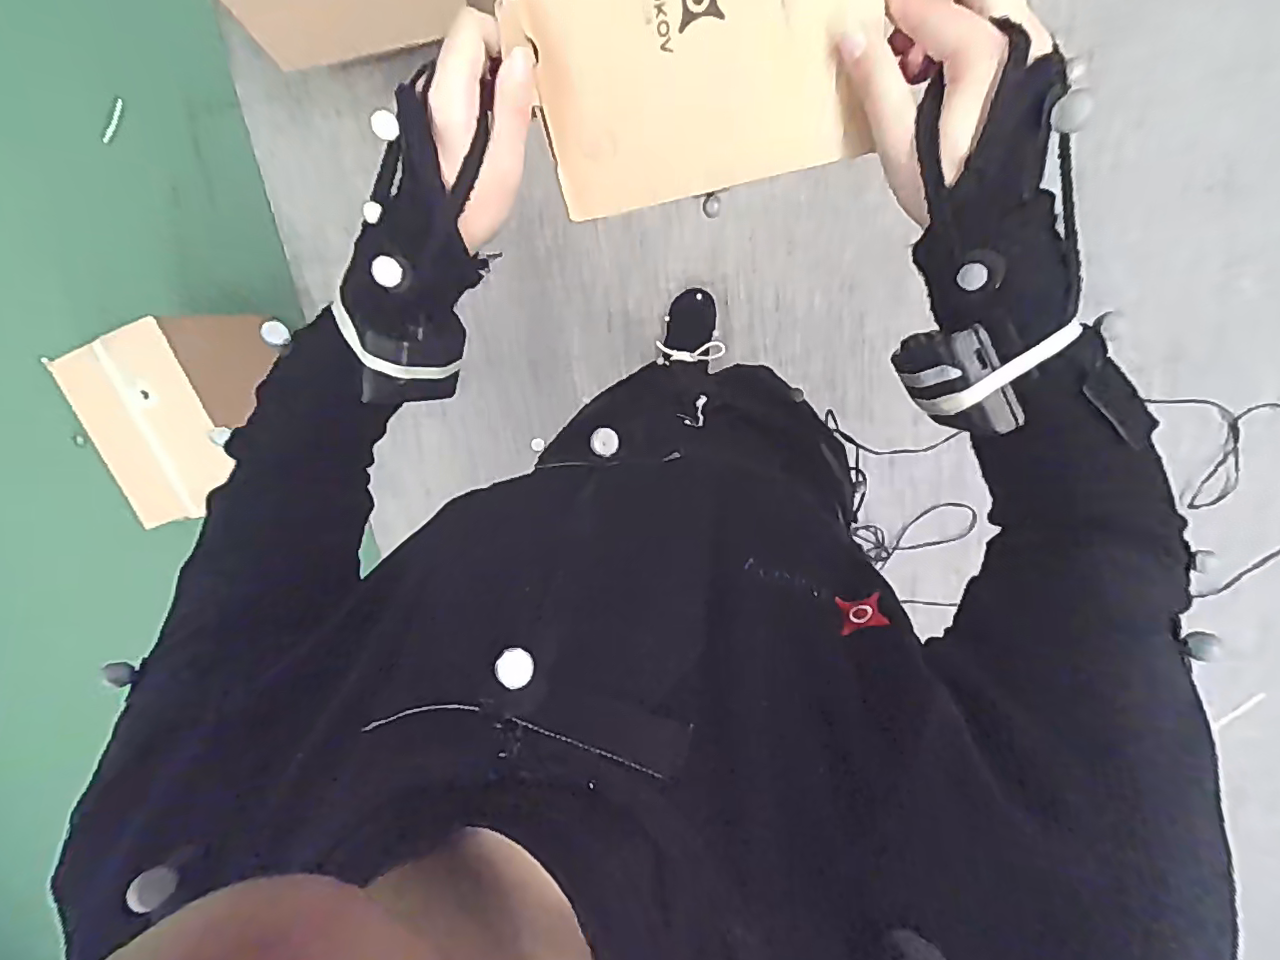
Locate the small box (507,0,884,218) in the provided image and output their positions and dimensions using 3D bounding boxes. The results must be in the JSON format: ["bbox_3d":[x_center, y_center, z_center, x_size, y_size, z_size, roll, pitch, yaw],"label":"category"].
[{"bbox_3d":[0.033,-0.267,0.324,0.179,0.176,0.168,-8,118,12],"label":"small box"}]
